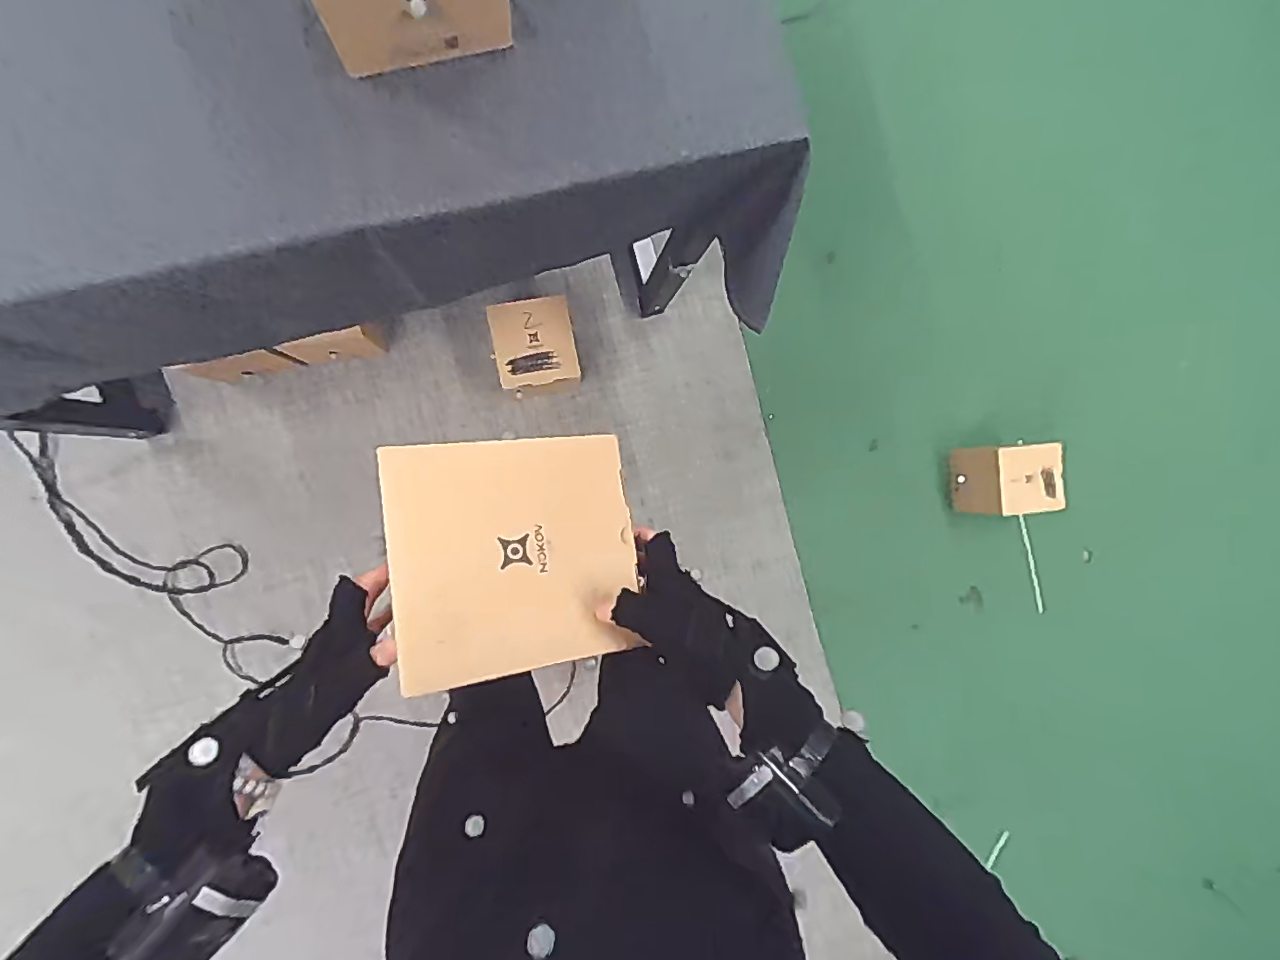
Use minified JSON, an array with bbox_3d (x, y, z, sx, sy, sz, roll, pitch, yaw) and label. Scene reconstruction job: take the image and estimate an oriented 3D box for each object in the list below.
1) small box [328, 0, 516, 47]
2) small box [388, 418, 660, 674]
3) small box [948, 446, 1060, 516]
[{"bbox_3d":[-0.208,-0.503,0.446,0.168,0.176,0.179,-18,95,-9],"label":"small box"},{"bbox_3d":[-0.107,0.053,0.453,0.179,0.176,0.168,-6,81,-25],"label":"small box"},{"bbox_3d":[0.929,-0.001,1.389,0.179,0.176,0.168,-5,91,-8],"label":"small box"}]
